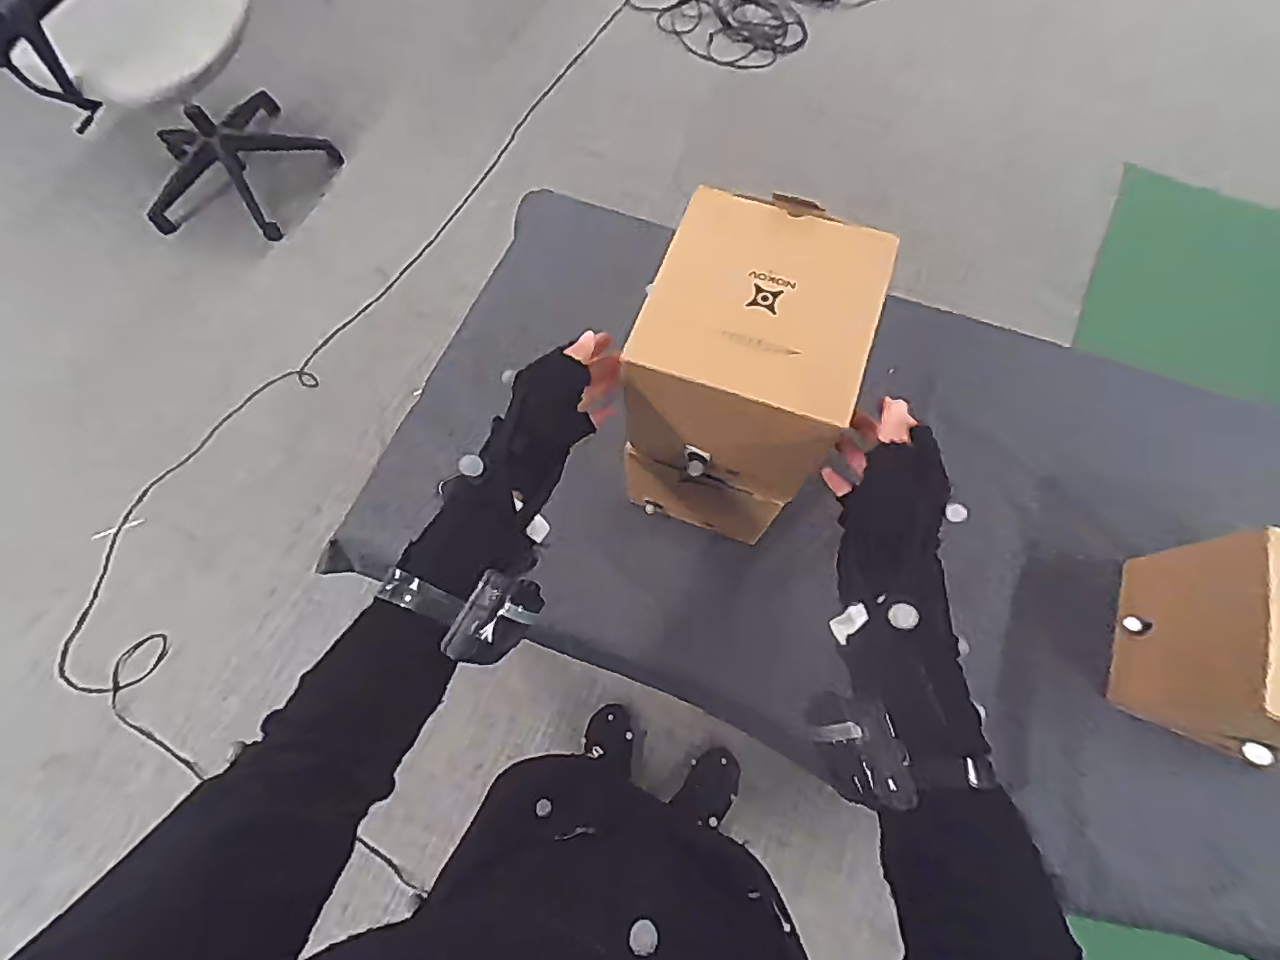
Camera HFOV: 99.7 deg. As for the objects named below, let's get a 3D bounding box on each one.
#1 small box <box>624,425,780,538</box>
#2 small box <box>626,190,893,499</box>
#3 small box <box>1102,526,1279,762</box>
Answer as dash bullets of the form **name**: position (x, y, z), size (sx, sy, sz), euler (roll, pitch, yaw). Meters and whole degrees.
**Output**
- **small box**: position (0.091, -0.050, 0.631), size (0.168, 0.176, 0.179), euler (19, 70, 7)
- **small box**: position (0.093, -0.108, 0.479), size (0.168, 0.176, 0.179), euler (19, 71, 8)
- **small box**: position (0.617, 0.173, 0.544), size (0.168, 0.176, 0.179), euler (21, 72, 8)
